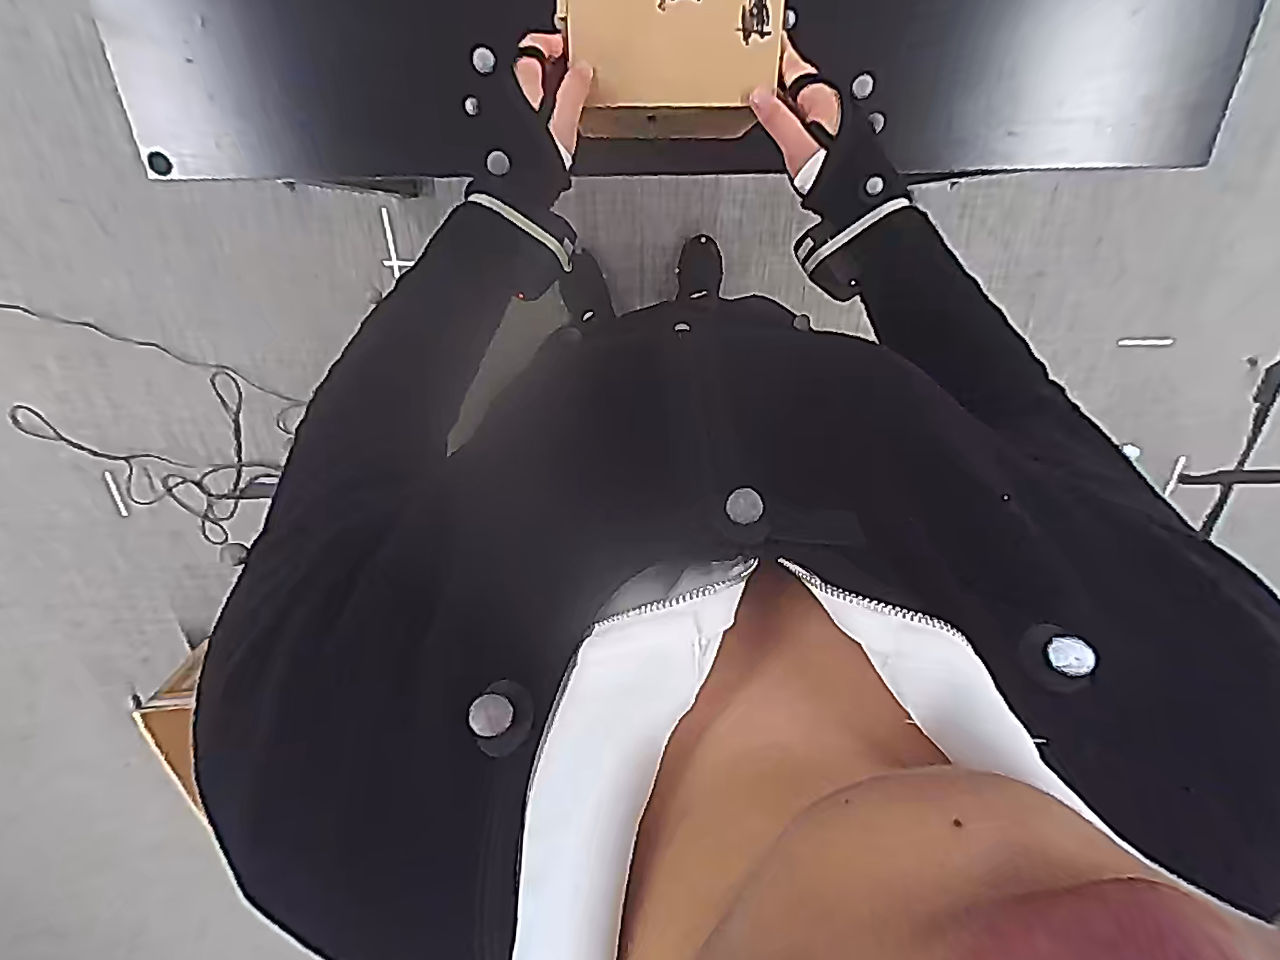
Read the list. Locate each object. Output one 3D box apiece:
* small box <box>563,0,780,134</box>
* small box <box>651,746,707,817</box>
[{"bbox_3d":[0.025,-0.427,0.497,0.179,0.176,0.168,-1,115,-1],"label":"small box"},{"bbox_3d":[0.137,1.098,1.977,0.179,0.176,0.168,2,112,-3],"label":"small box"}]
